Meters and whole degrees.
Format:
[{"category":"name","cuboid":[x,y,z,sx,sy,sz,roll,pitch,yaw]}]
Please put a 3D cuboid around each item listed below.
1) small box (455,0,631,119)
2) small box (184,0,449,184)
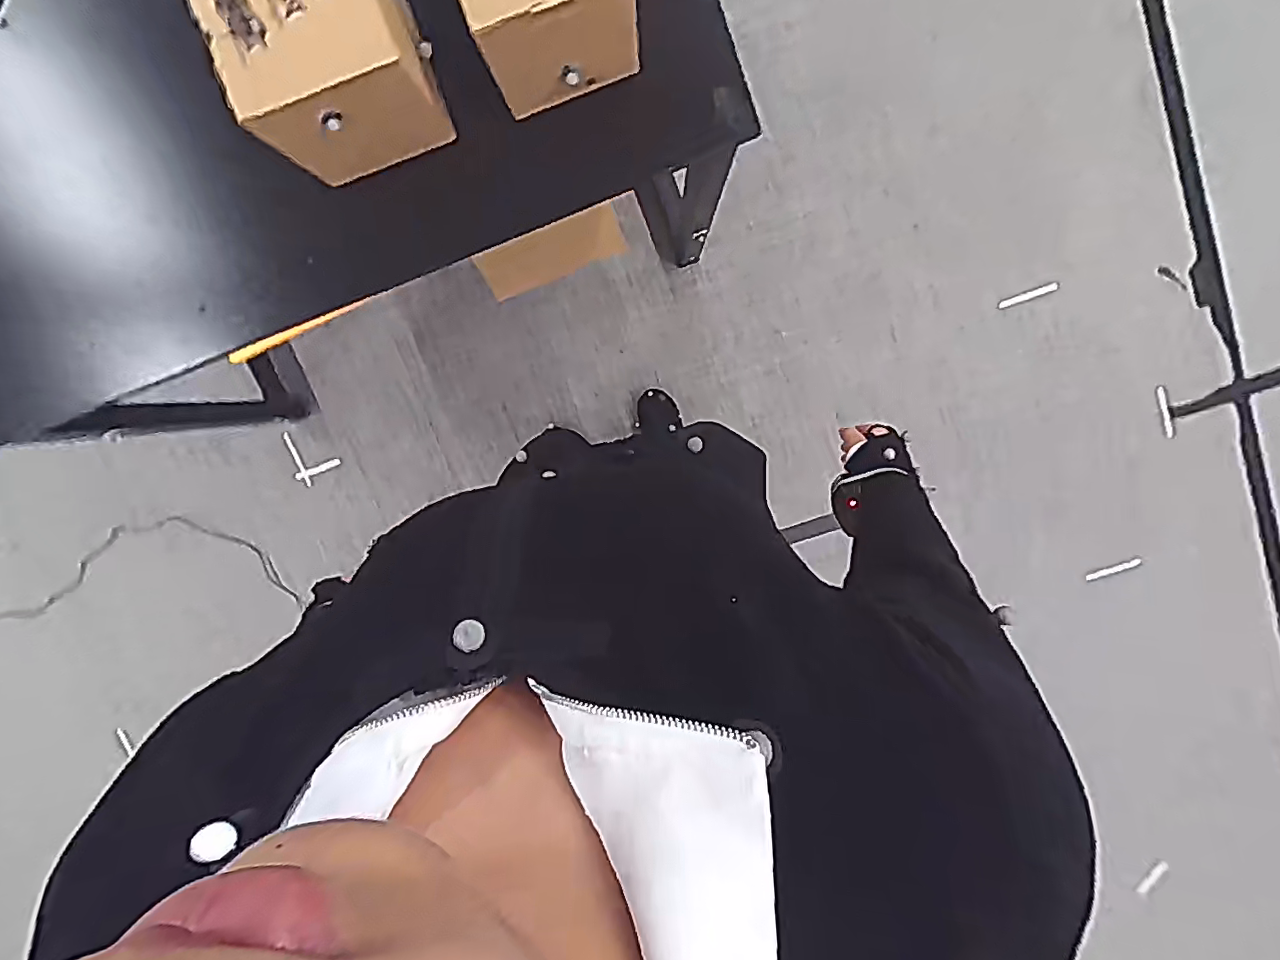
[{"category":"small box","cuboid":[-0.114,-0.544,0.586,0.168,0.176,0.179,-18,98,5]},{"category":"small box","cuboid":[-0.346,-0.464,0.602,0.179,0.176,0.168,-19,98,3]}]
